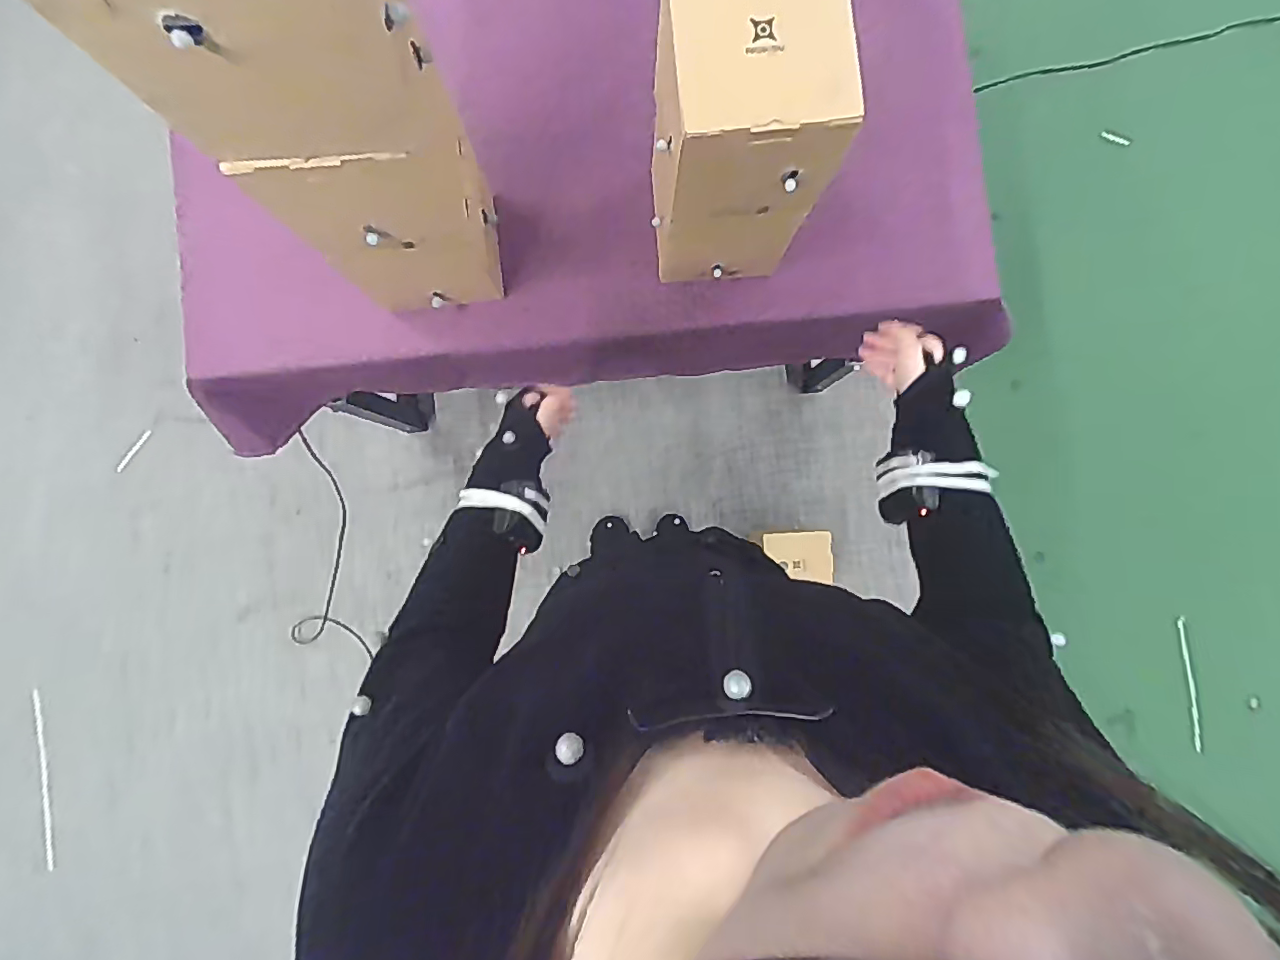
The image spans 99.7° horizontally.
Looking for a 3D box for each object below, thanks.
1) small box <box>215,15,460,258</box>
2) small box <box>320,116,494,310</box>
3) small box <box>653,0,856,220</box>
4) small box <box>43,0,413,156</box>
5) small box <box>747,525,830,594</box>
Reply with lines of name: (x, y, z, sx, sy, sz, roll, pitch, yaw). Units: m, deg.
small box: (-0.295, -0.354, 0.554, 0.168, 0.176, 0.179, -6, 88, -1)
small box: (-0.299, -0.341, 0.719, 0.179, 0.176, 0.168, -7, 87, -3)
small box: (0.105, -0.394, 0.567, 0.168, 0.176, 0.179, -6, 87, -2)
small box: (-0.286, -0.364, 0.390, 0.179, 0.176, 0.168, -4, 87, -2)
small box: (0.387, 0.207, 1.442, 0.179, 0.176, 0.168, -3, 88, -2)
